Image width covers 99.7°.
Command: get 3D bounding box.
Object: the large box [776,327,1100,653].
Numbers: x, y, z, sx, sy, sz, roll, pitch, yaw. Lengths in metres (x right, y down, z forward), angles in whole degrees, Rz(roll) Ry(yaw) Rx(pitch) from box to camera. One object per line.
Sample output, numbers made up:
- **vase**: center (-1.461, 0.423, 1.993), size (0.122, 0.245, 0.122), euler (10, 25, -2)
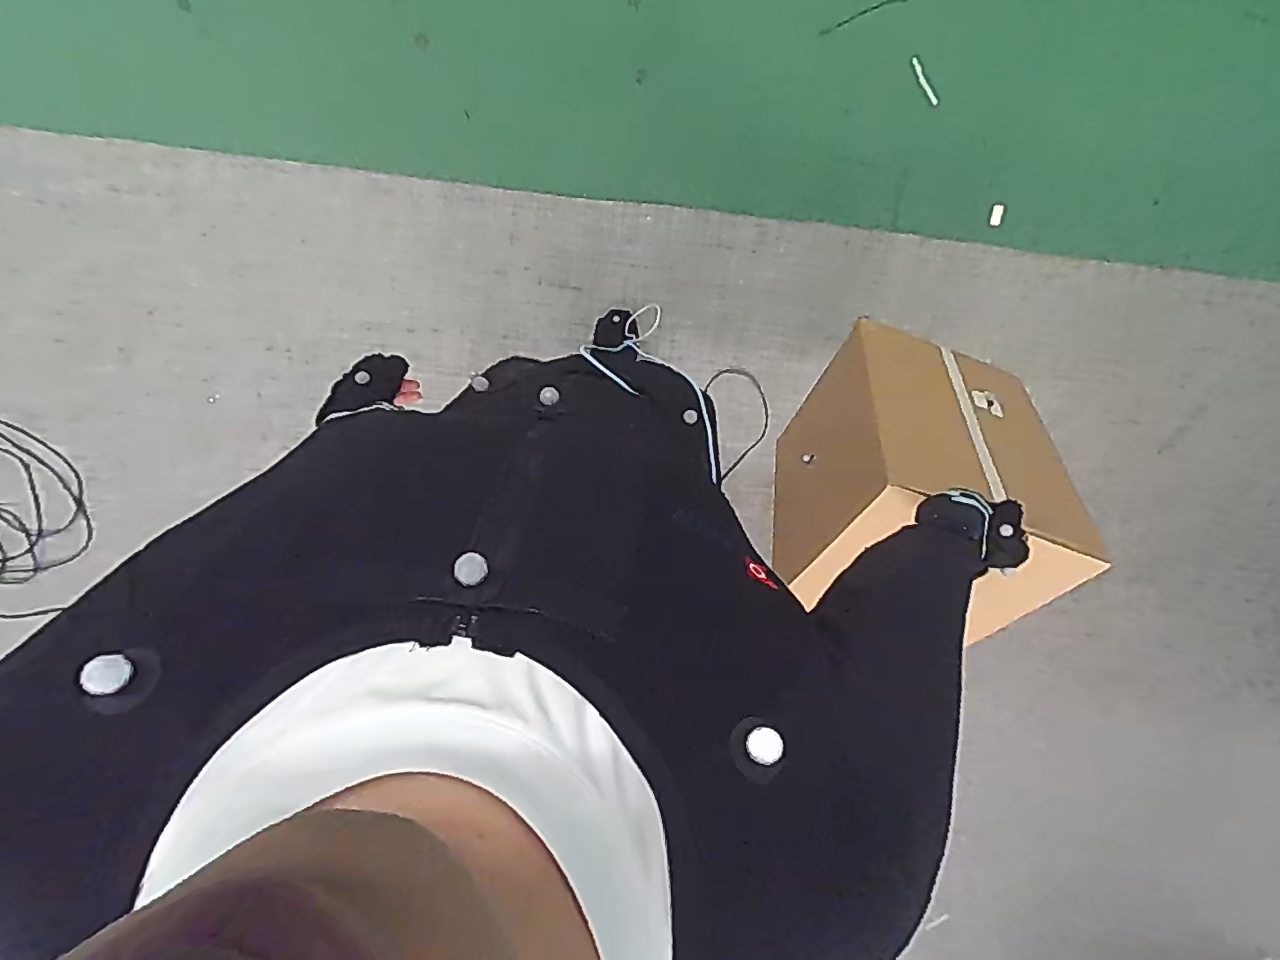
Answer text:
- **large box**: center (0.438, 0.016, 0.918), size (0.320, 0.408, 0.320), euler (20, 136, -5)
